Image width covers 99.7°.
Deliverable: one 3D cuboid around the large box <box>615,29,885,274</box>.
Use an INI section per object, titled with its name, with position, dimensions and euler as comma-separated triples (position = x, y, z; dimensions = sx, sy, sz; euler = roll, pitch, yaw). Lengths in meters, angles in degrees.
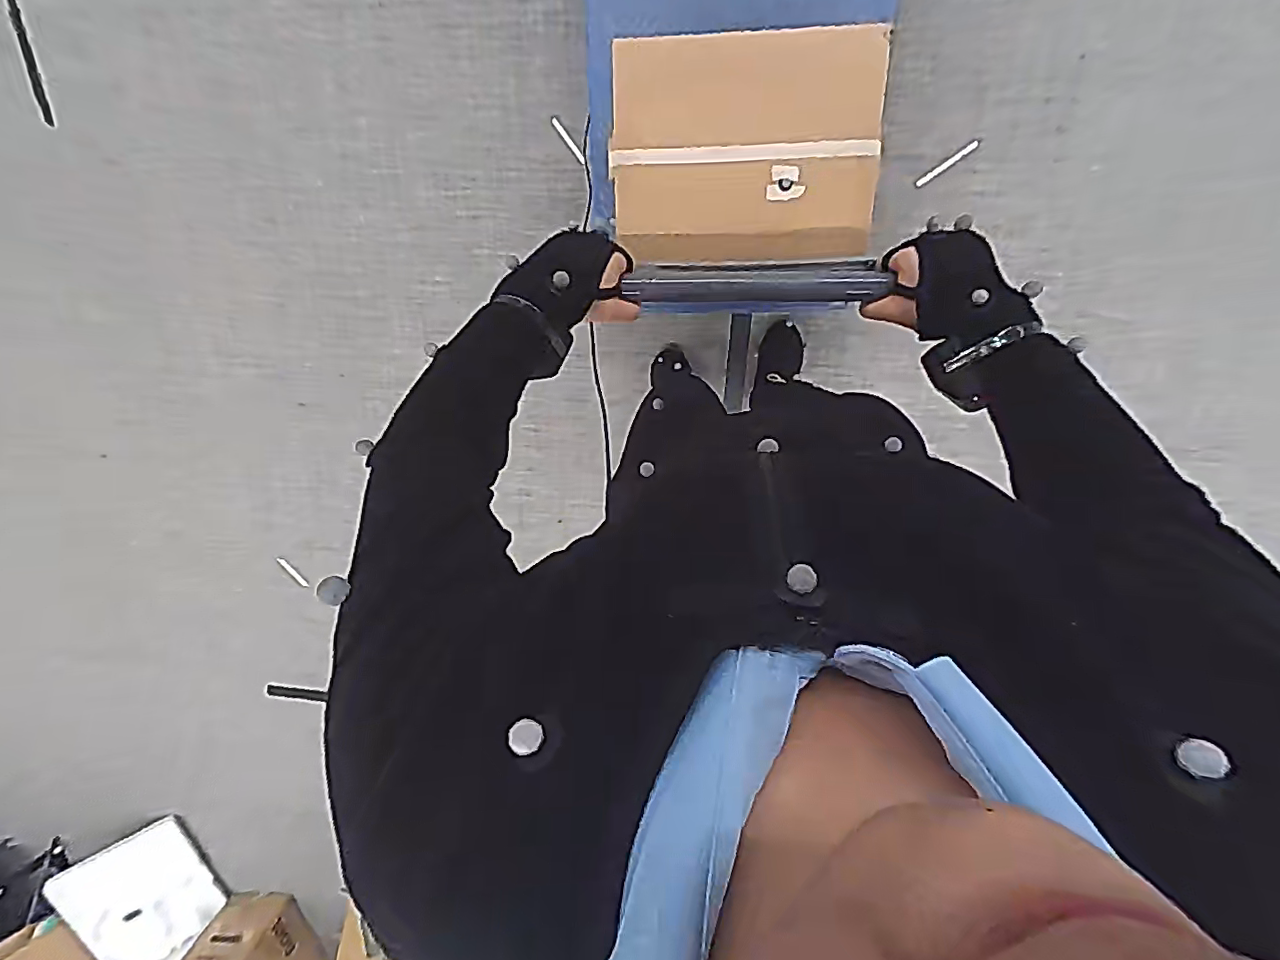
[large box]
position = 0.177, -0.555, 0.990
dimensions = 0.408, 0.320, 0.320
euler = 1, 109, 6
